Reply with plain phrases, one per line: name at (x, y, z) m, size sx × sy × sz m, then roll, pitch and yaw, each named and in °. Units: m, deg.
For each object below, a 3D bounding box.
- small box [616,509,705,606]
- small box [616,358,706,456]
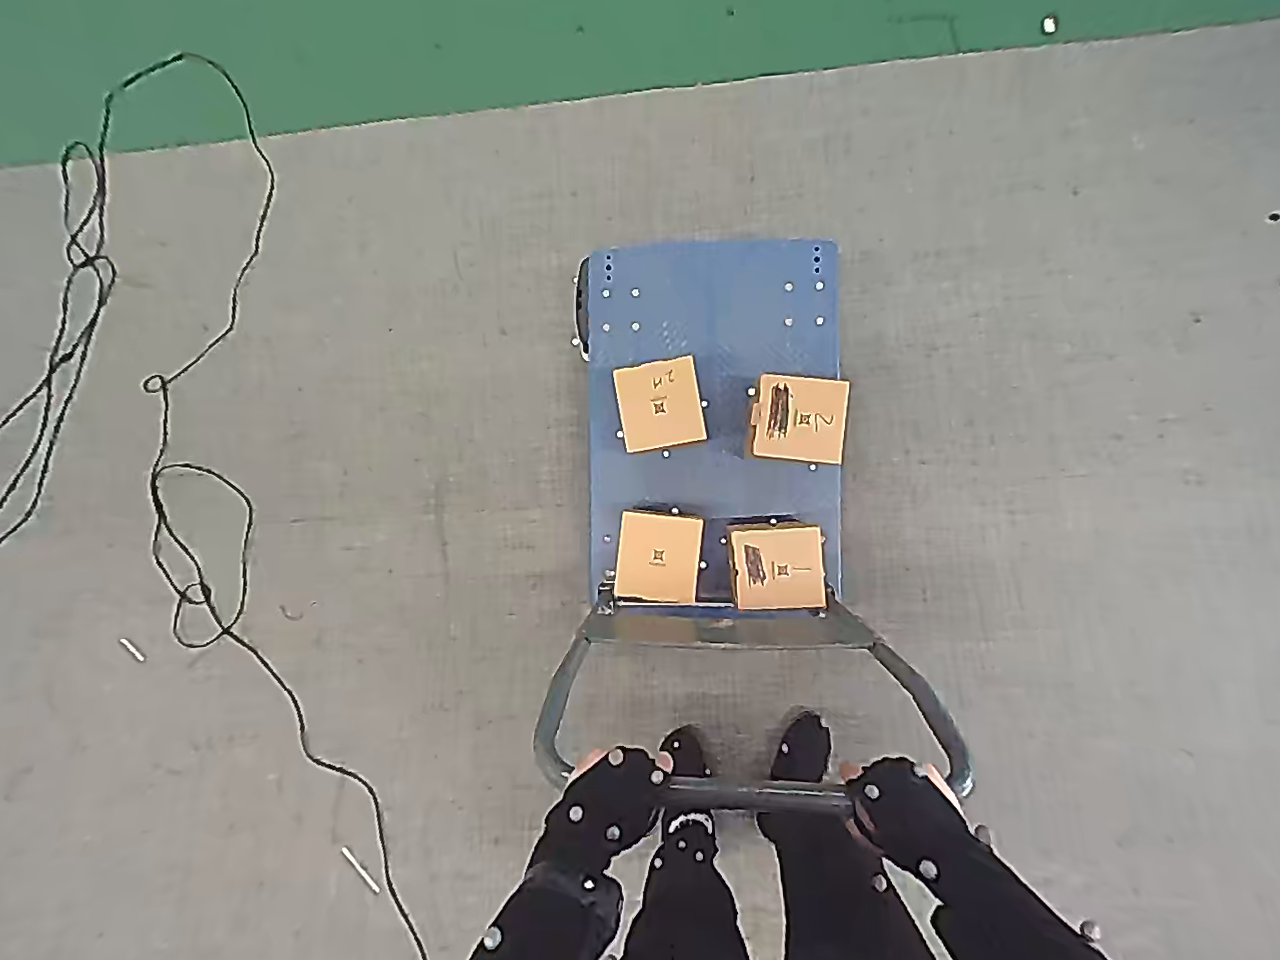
small box at (0.045, 0.159, 1.169) m, size 0.168 × 0.176 × 0.179 m, roll 6°, pitch 90°, yaw 4°
small box at (0.050, -0.149, 1.173) m, size 0.168 × 0.176 × 0.179 m, roll -9°, pitch 88°, yaw 4°
